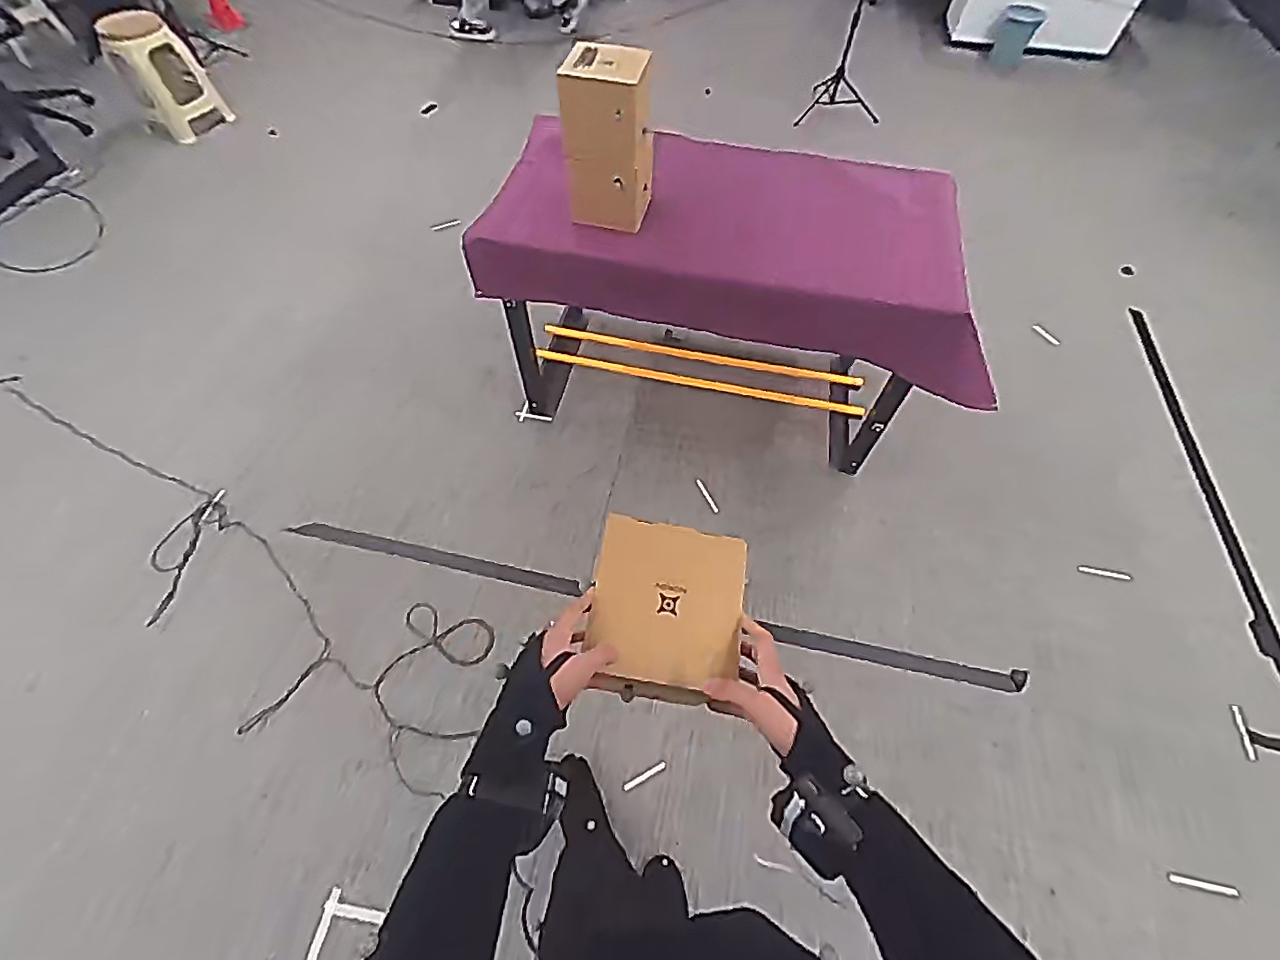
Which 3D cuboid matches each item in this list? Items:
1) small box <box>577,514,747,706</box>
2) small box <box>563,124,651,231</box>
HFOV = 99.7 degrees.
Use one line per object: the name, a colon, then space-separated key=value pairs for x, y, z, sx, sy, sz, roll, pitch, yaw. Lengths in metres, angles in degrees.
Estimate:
small box: x=0.020 y=0.165 z=0.652 sx=0.168 sy=0.176 sz=0.179 roll=11 pitch=62 yaw=-3
small box: x=-0.079 y=-0.754 z=1.360 sx=0.179 sy=0.176 sz=0.168 roll=12 pitch=59 yaw=6
